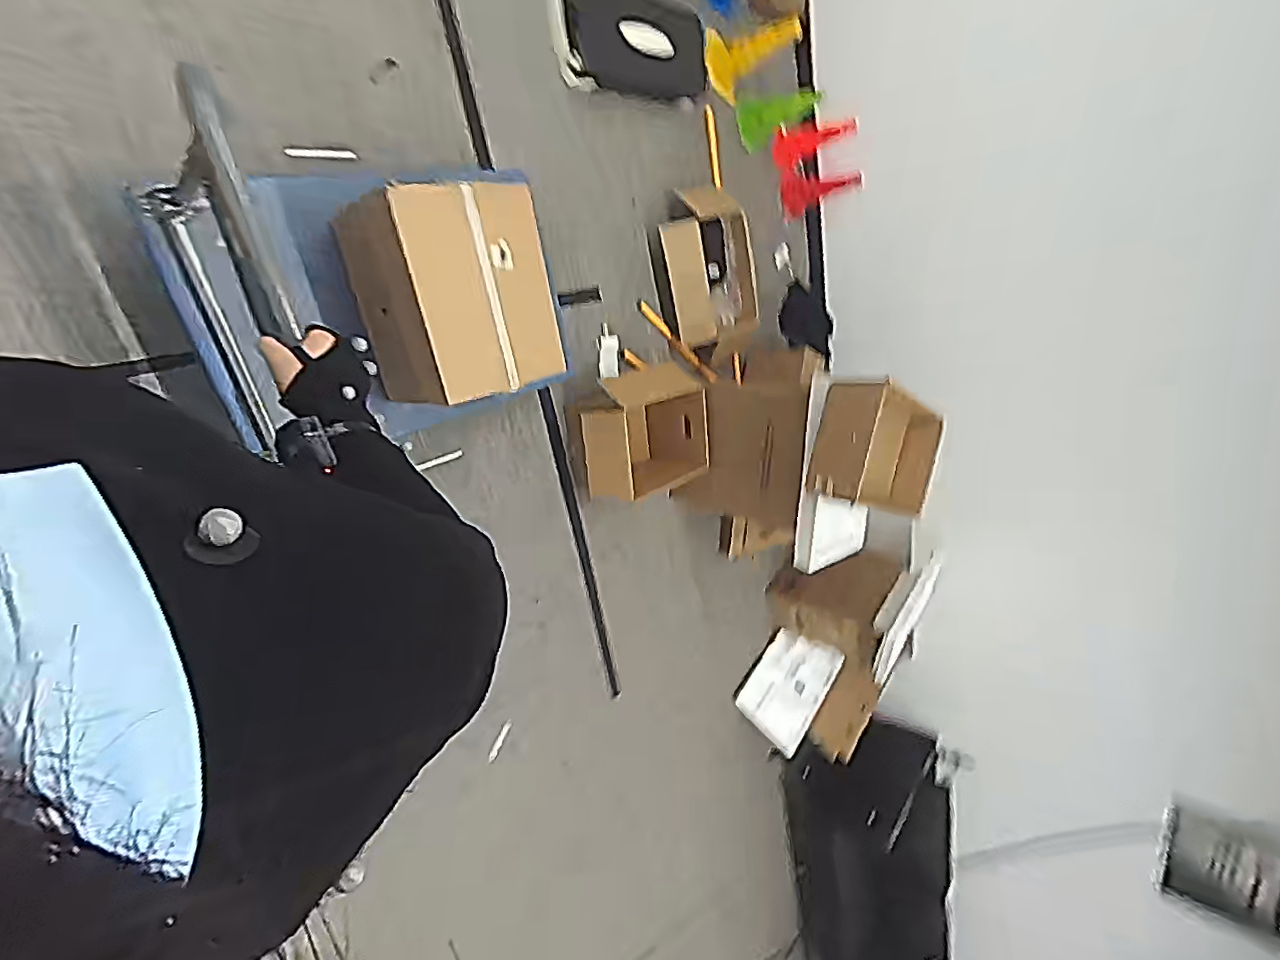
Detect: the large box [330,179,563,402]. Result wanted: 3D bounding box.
[{"bbox_3d":[-0.422,-0.409,1.204,0.320,0.320,0.408,-27,116,-41],"label":"large box"}]
